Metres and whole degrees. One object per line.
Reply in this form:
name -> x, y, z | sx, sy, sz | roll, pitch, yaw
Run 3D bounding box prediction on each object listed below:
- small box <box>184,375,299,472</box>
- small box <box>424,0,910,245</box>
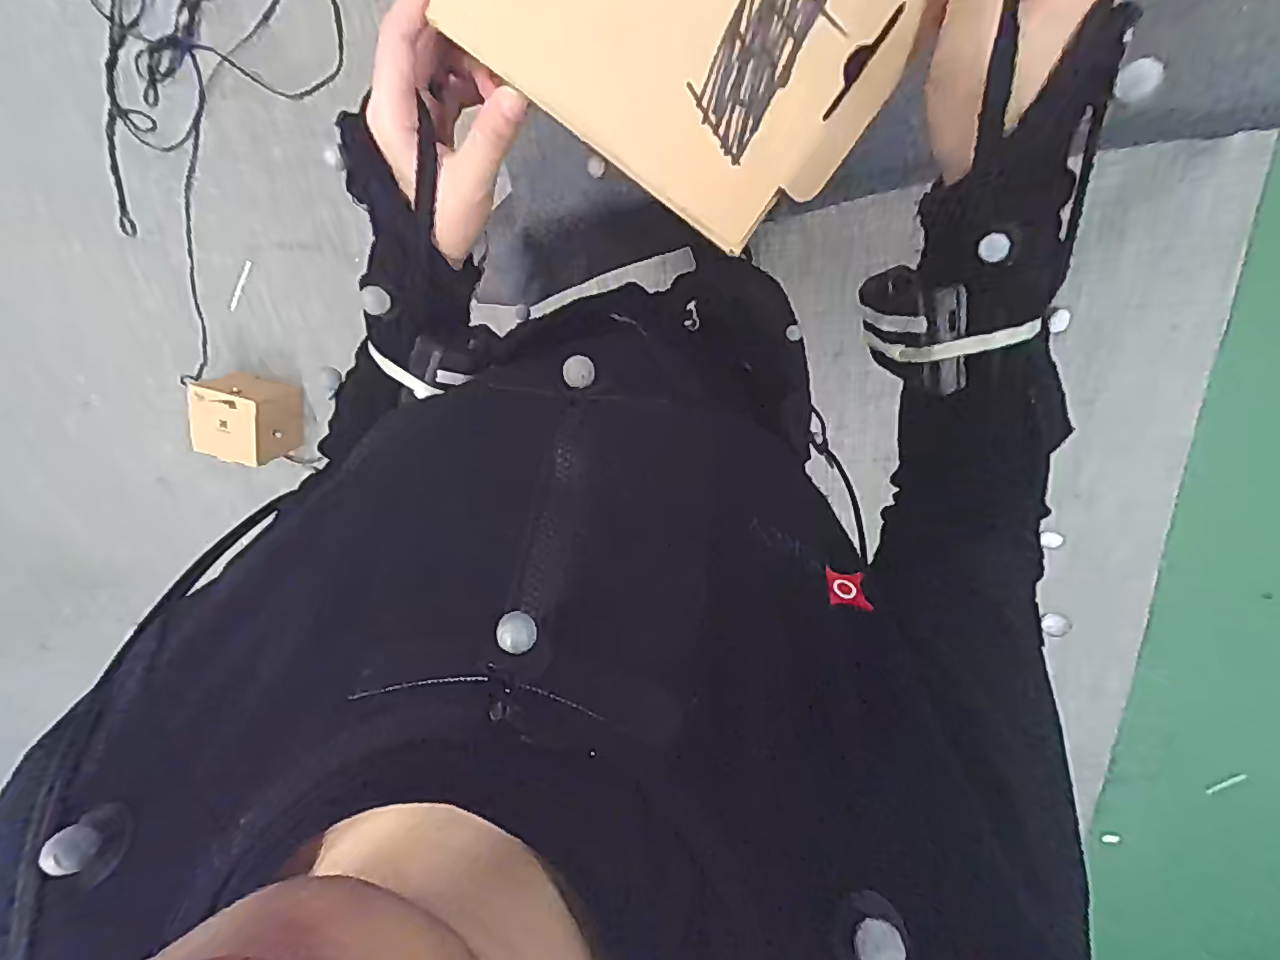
small box -> -0.988, -0.146, 1.353 | 0.168, 0.176, 0.179 | 16, 113, -1
small box -> 0.032, -0.250, 0.284 | 0.179, 0.176, 0.168 | 35, 116, -5
